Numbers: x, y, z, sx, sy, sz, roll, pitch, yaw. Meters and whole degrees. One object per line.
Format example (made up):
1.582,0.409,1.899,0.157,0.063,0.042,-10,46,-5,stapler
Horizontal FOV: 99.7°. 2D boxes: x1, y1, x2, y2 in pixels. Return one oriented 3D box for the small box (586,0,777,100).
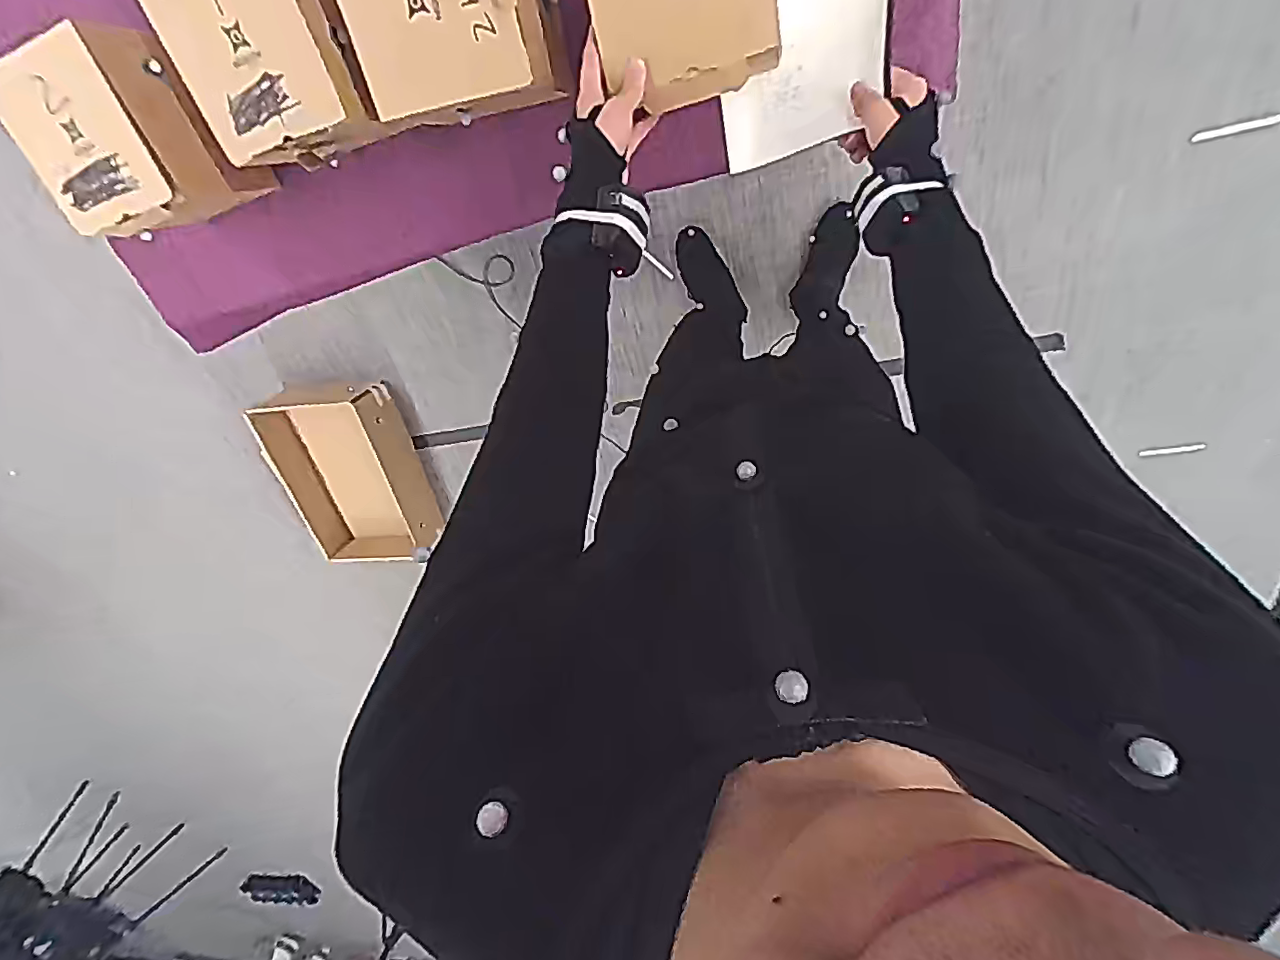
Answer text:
0.042,-0.491,0.522,0.168,0.176,0.179,-6,120,16,small box
